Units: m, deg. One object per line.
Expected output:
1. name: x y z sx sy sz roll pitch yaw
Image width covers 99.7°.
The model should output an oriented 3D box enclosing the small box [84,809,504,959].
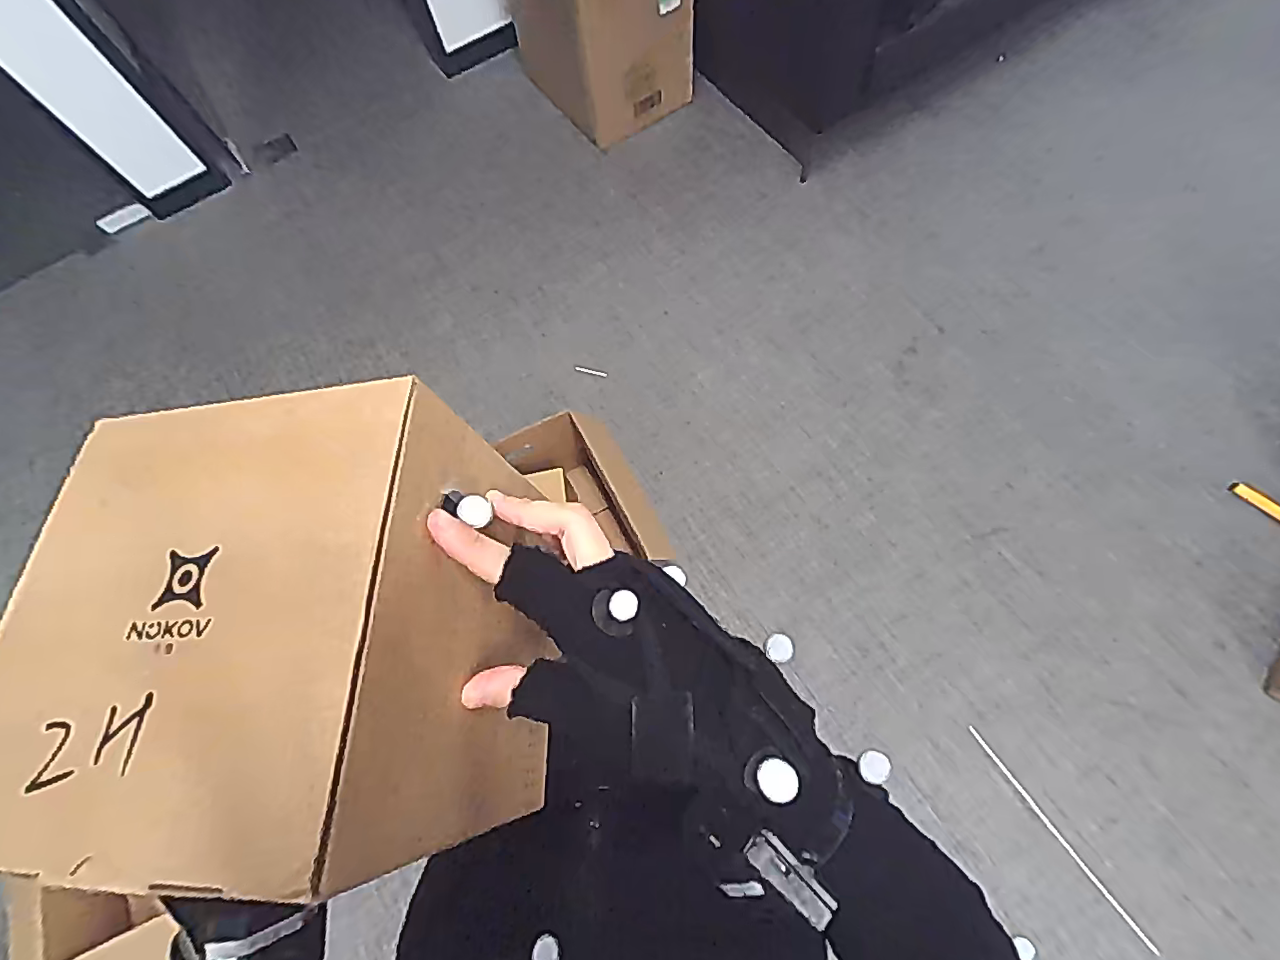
1. small box: -0.227 0.276 0.385 0.176 0.168 0.179 10 31 19

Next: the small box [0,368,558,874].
1. small box: -0.148 0.069 0.275 0.168 0.176 0.179 -5 67 11
